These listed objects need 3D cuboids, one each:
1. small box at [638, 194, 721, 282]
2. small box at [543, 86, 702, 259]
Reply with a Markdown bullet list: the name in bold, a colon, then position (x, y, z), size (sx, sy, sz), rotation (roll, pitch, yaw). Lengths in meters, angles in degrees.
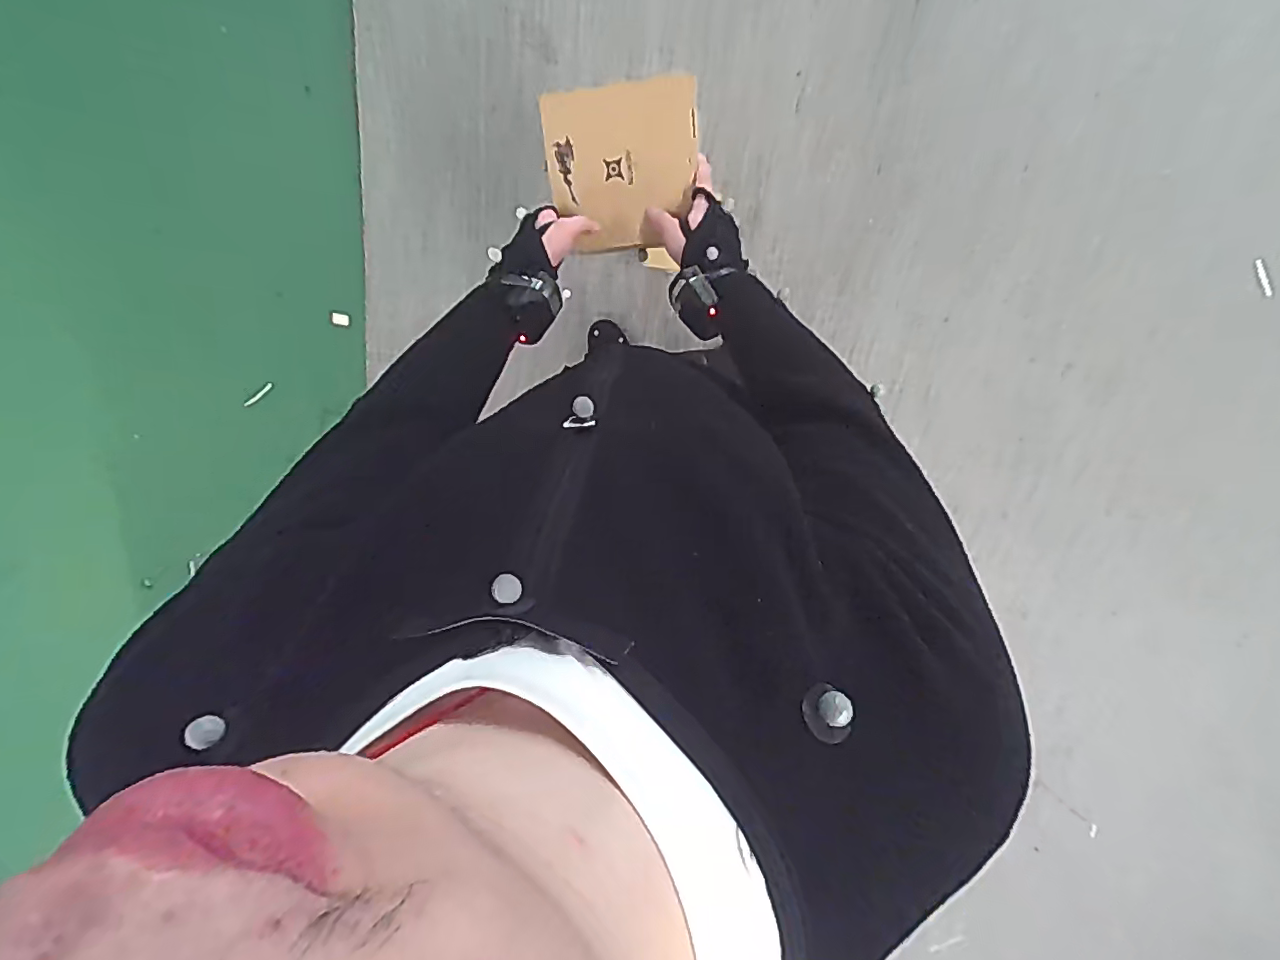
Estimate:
- **small box**: position (0.097, -0.592, 1.320), size (0.168, 0.176, 0.179), rotation (11, 108, 4)
- **small box**: position (-0.011, -0.384, 0.703), size (0.179, 0.176, 0.168), rotation (-2, 111, 8)
